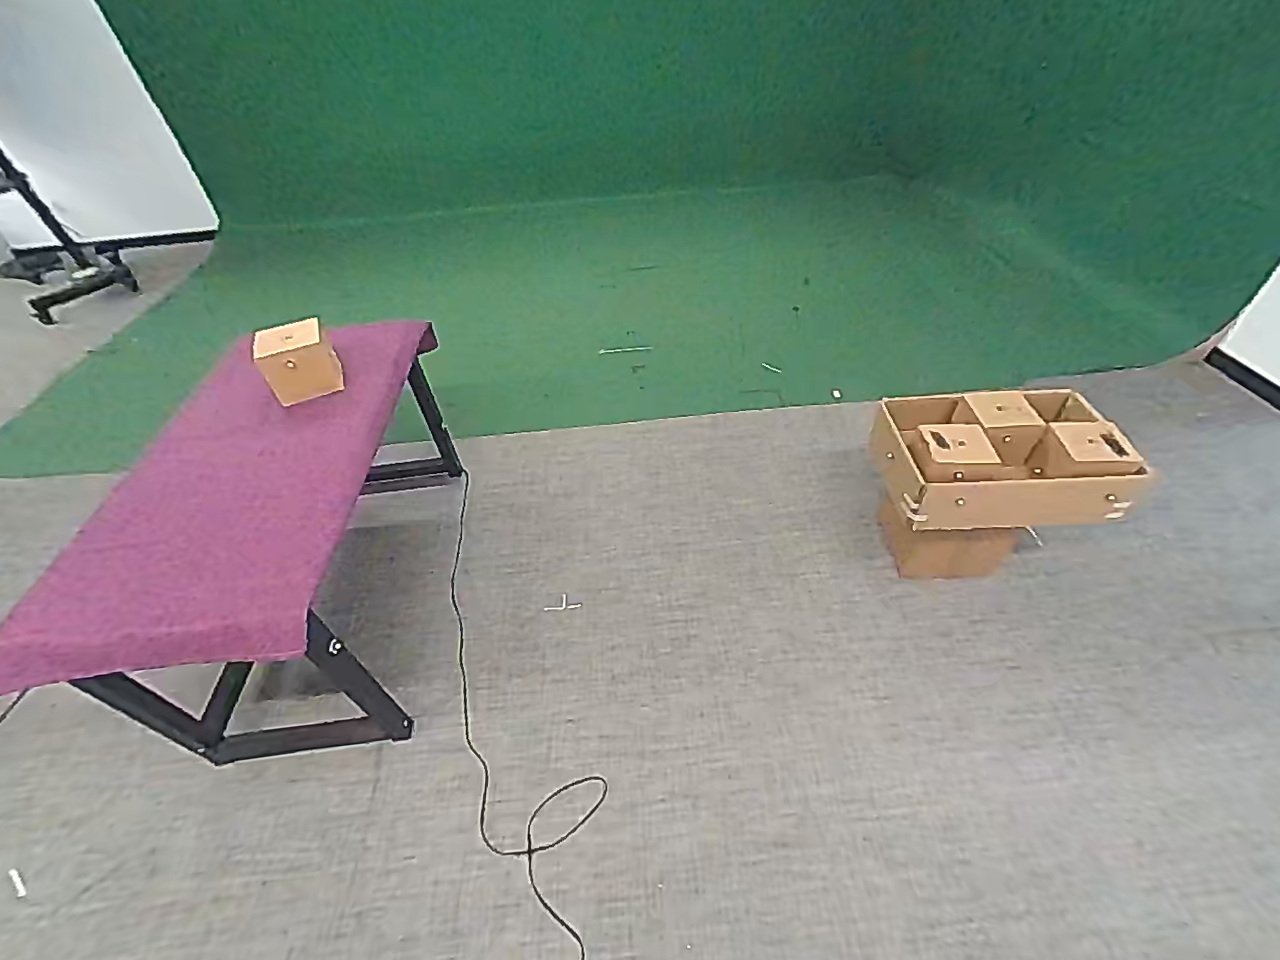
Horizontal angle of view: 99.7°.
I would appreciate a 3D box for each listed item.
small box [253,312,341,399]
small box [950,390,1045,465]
[{"bbox_3d":[-1.012,-0.369,1.610,0.179,0.176,0.168,-21,48,-15],"label":"small box"},{"bbox_3d":[1.087,-0.158,1.669,0.179,0.176,0.168,-2,47,3],"label":"small box"}]
